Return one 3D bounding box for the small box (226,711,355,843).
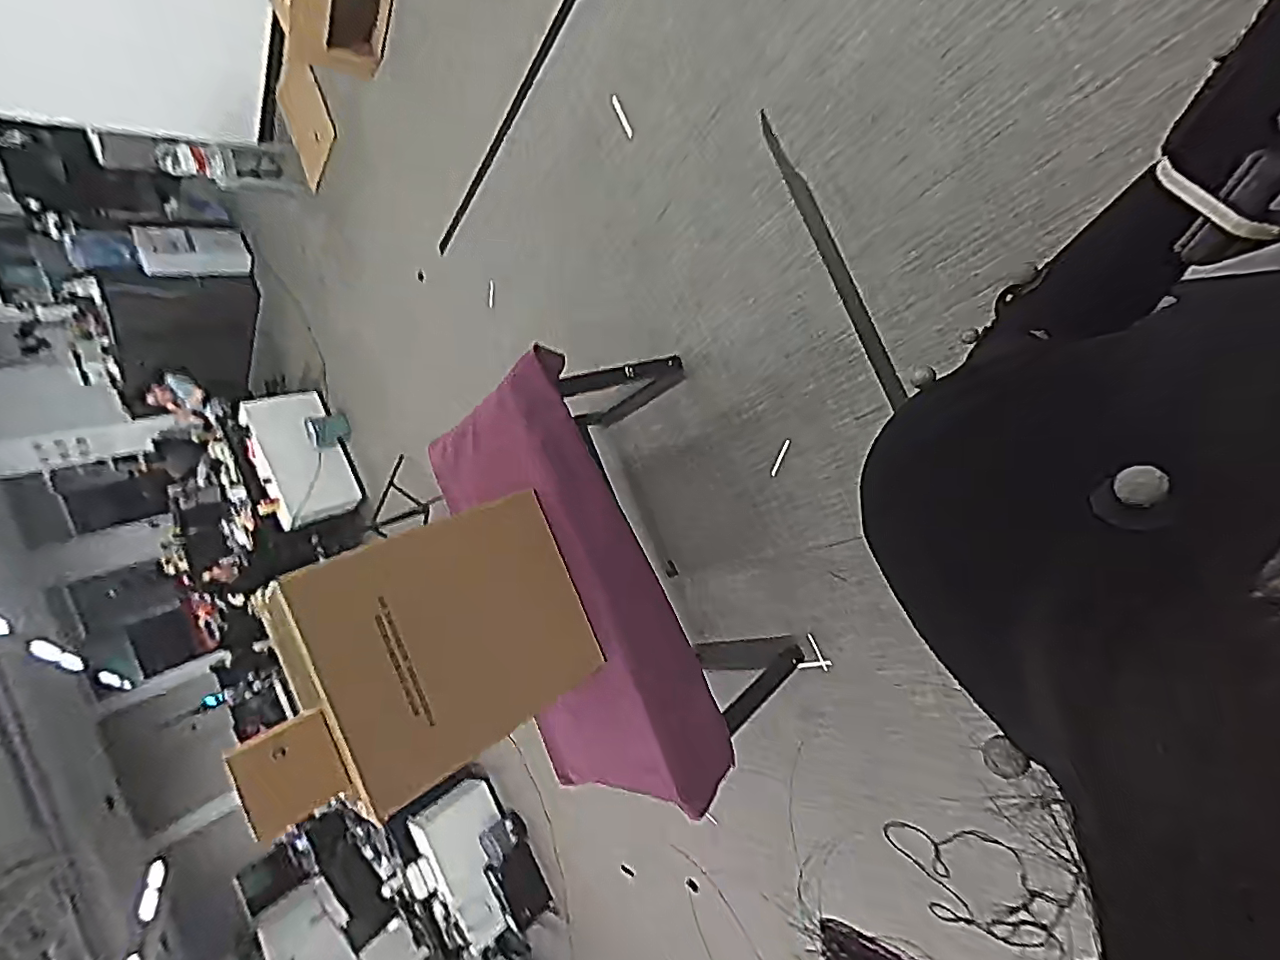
[{"bbox_3d":[-0.719,0.595,1.112,0.168,0.176,0.179,-30,84,48],"label":"small box"}]
